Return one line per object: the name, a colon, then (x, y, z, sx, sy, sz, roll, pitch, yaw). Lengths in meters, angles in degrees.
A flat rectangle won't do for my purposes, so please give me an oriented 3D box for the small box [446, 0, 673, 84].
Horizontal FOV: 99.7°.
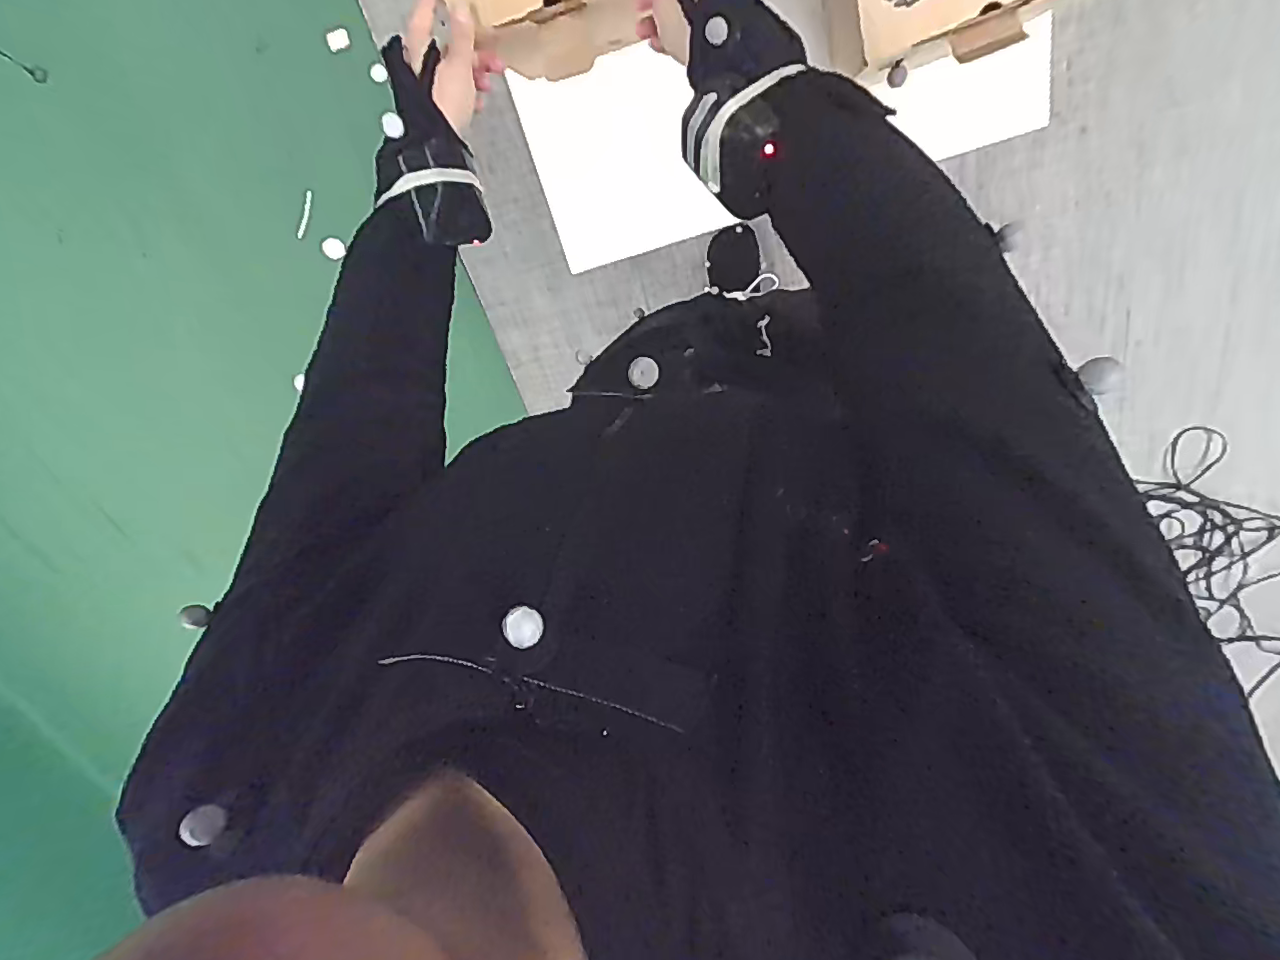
small box: (-0.072, -0.466, 0.447, 0.168, 0.176, 0.179, -9, 117, 13)
